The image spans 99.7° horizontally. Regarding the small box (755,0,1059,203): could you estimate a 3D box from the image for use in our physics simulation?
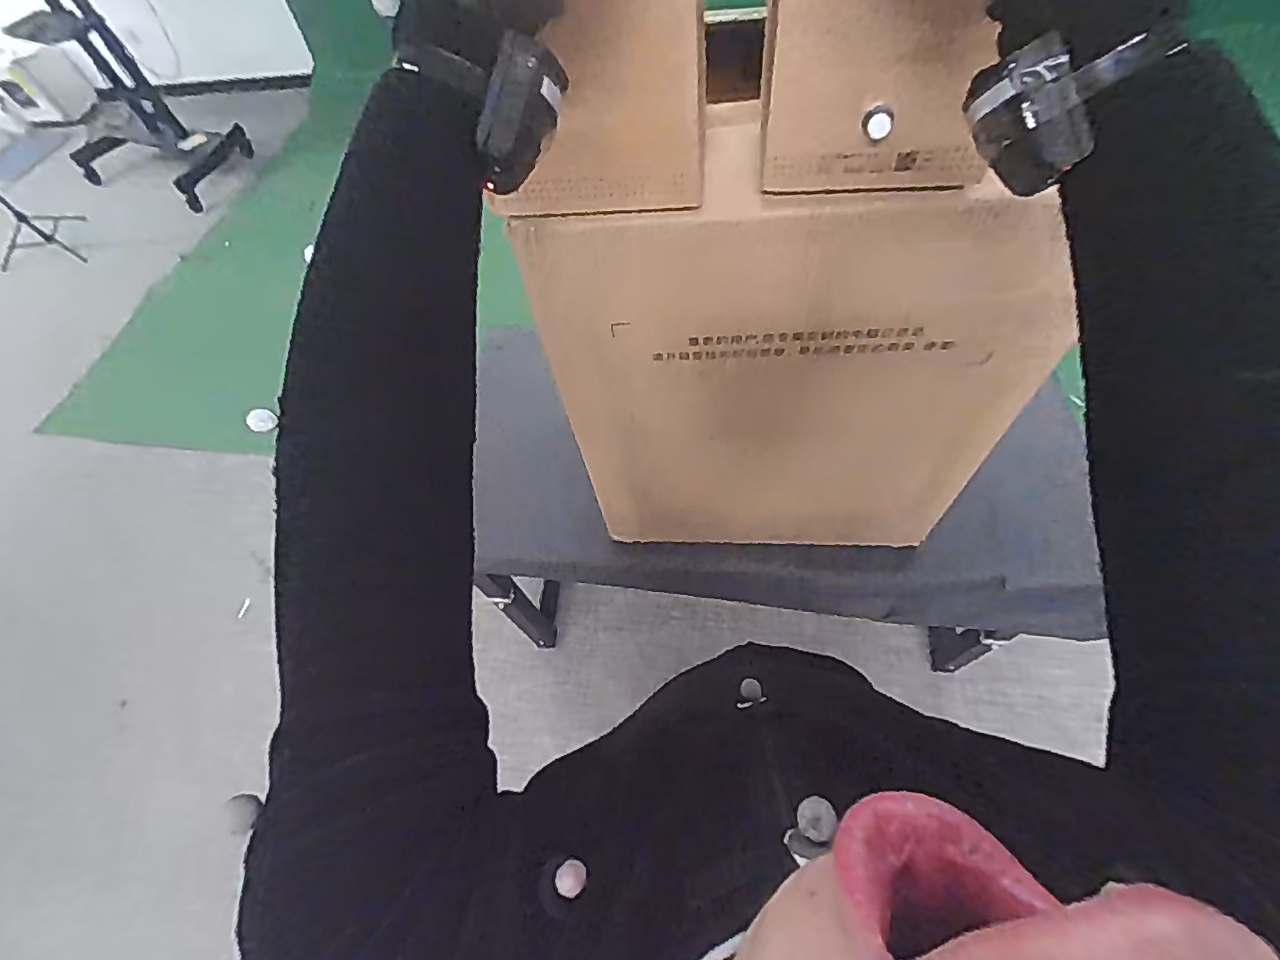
[{"bbox_3d":[0.176,-0.335,0.400,0.168,0.176,0.179,3,60,8],"label":"small box"}]

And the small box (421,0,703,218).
[{"bbox_3d":[-0.041,-0.326,0.419,0.179,0.176,0.168,1,60,6],"label":"small box"}]
